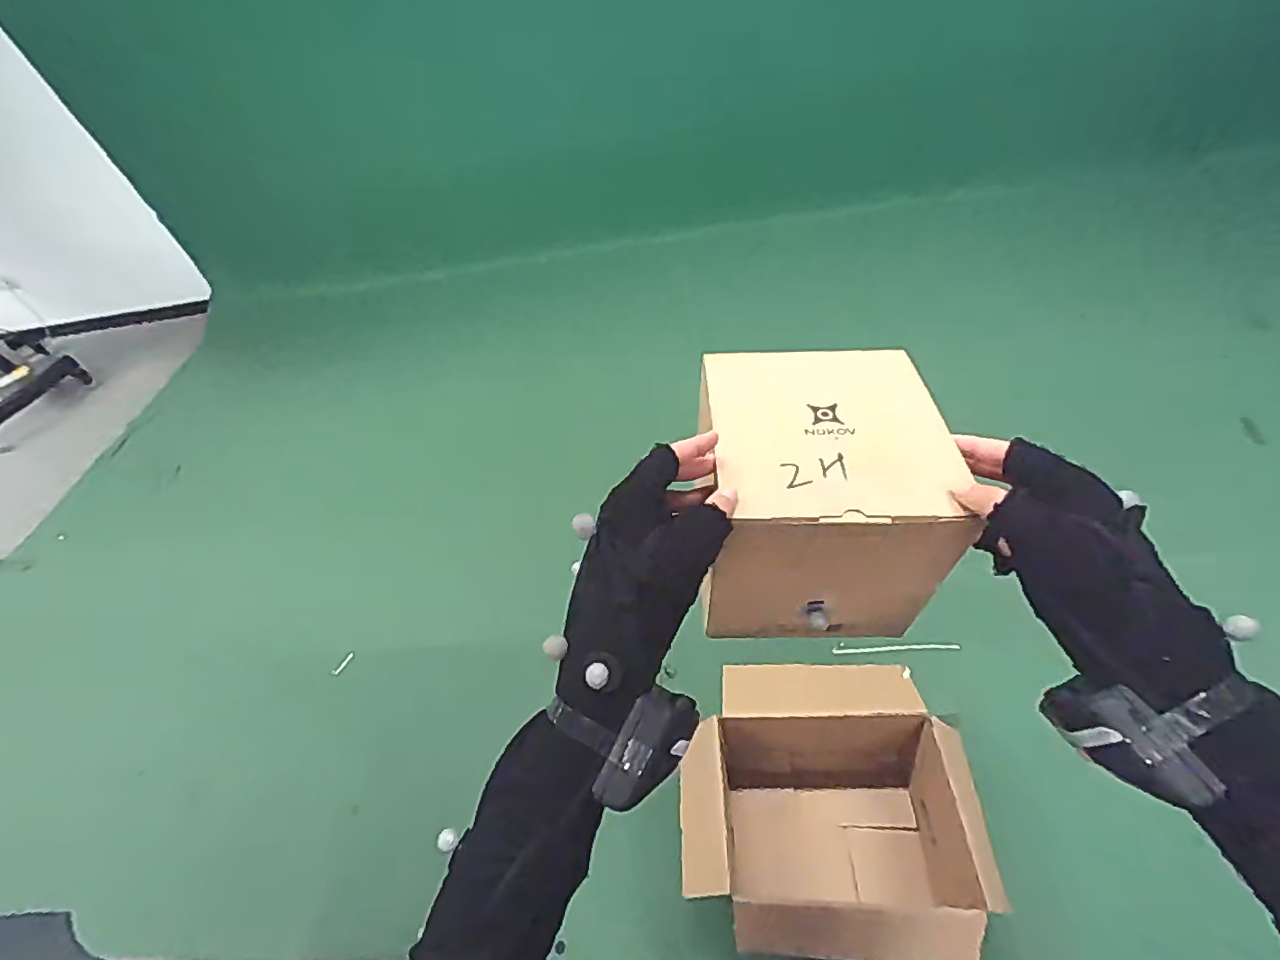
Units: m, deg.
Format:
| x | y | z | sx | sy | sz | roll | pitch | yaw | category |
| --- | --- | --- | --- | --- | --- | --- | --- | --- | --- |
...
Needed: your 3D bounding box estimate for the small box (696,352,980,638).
| x | y | z | sx | sy | sz | roll | pitch | yaw | category |
| --- | --- | --- | --- | --- | --- | --- | --- | --- | --- |
| 0.135 | 0.012 | 0.454 | 0.168 | 0.176 | 0.179 | -1 | 48 | 3 | small box |
